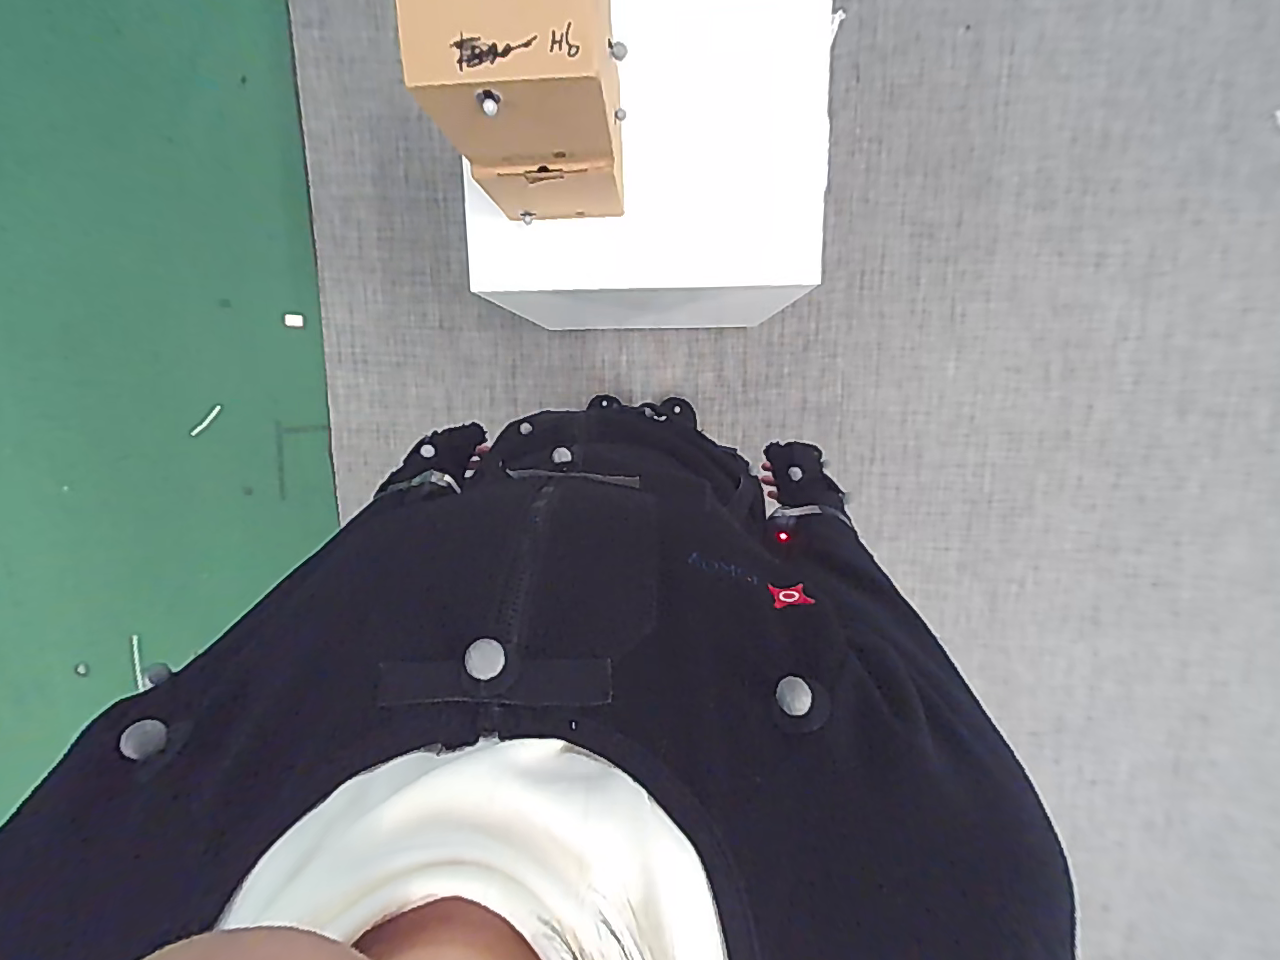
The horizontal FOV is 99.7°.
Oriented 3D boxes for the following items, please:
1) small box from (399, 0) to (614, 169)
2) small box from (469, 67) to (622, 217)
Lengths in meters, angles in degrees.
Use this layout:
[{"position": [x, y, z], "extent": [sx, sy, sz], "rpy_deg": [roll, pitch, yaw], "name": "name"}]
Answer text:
[{"position": [-0.115, -0.428, 0.519], "extent": [0.168, 0.176, 0.179], "rpy_deg": [-1, 99, 3], "name": "small box"}, {"position": [-0.111, -0.445, 0.682], "extent": [0.168, 0.176, 0.179], "rpy_deg": [-1, 99, 2], "name": "small box"}]
